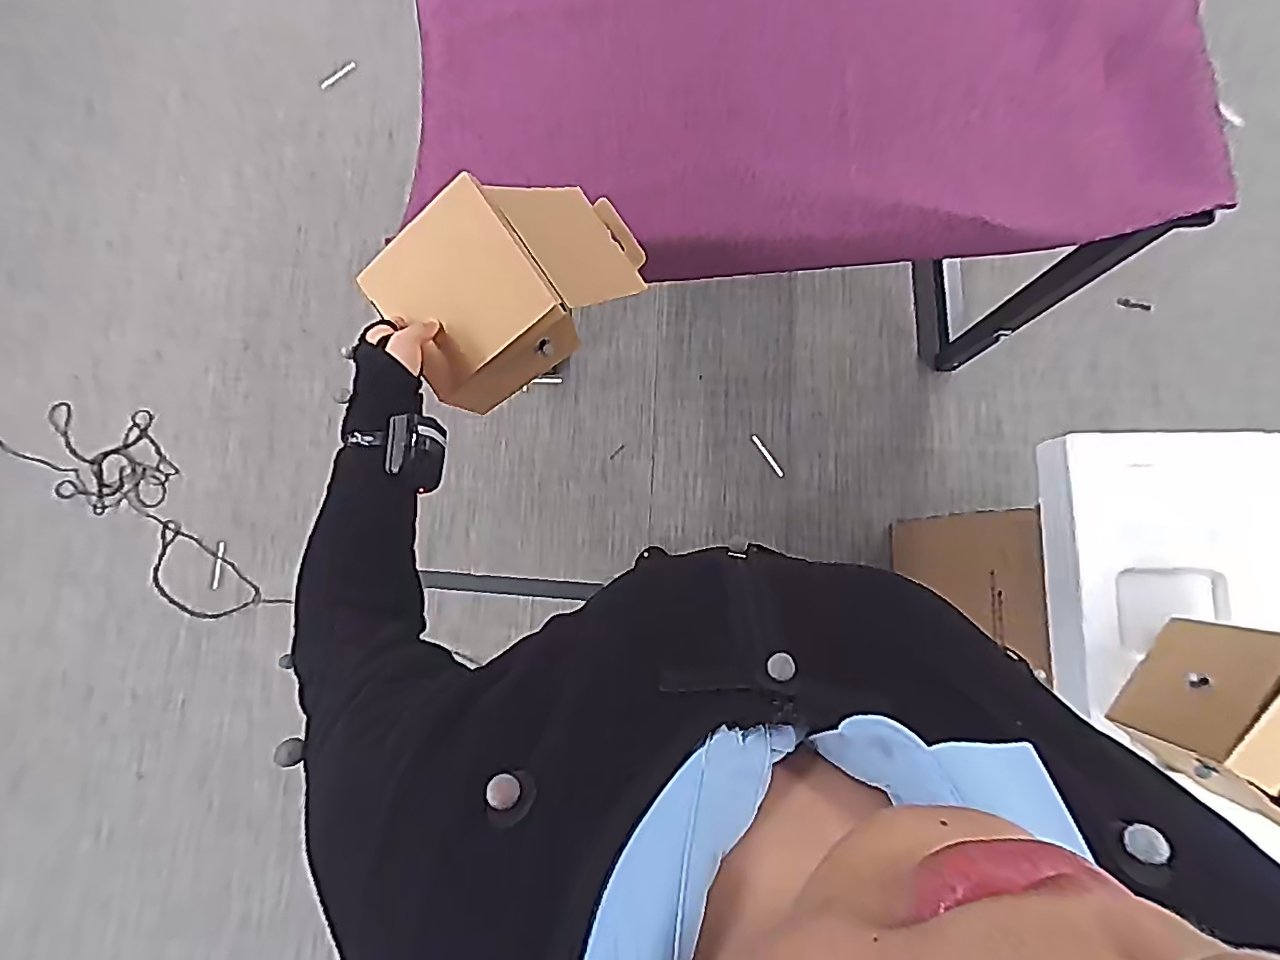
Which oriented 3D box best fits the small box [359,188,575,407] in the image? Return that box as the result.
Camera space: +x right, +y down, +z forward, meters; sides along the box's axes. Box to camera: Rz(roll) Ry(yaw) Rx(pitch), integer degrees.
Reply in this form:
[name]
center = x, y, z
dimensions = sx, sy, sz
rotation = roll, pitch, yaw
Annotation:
[small box]
center = -0.193, -0.208, 0.670
dimensions = 0.179, 0.176, 0.168
rotation = -34, 91, 1
